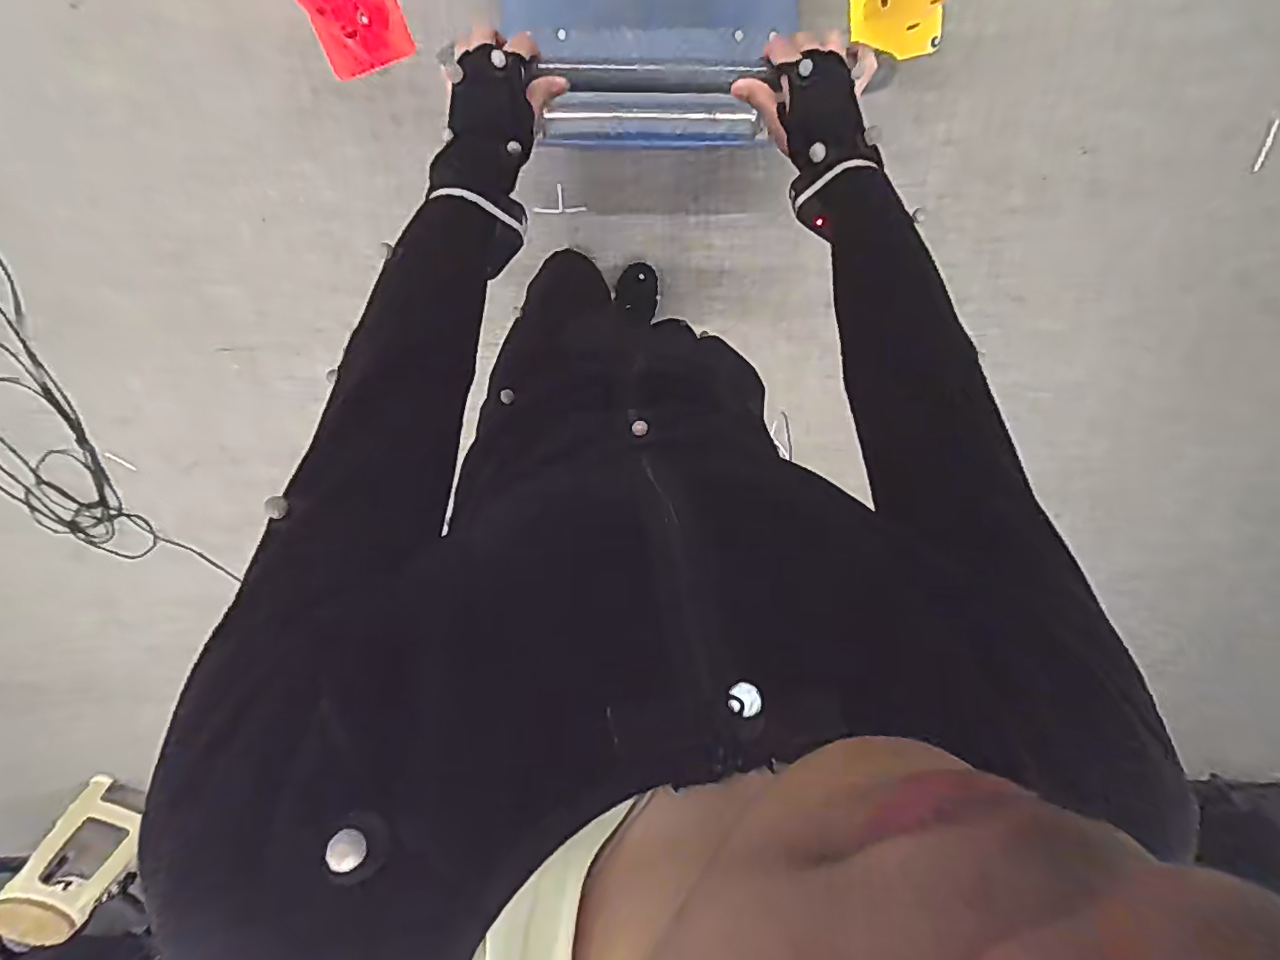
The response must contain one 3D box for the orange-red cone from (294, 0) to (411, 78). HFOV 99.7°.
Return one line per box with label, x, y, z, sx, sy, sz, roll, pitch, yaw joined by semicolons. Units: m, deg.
orange-red cone;-0.625;-0.943;1.032;0.199;0.360;0.198;-13;115;8
